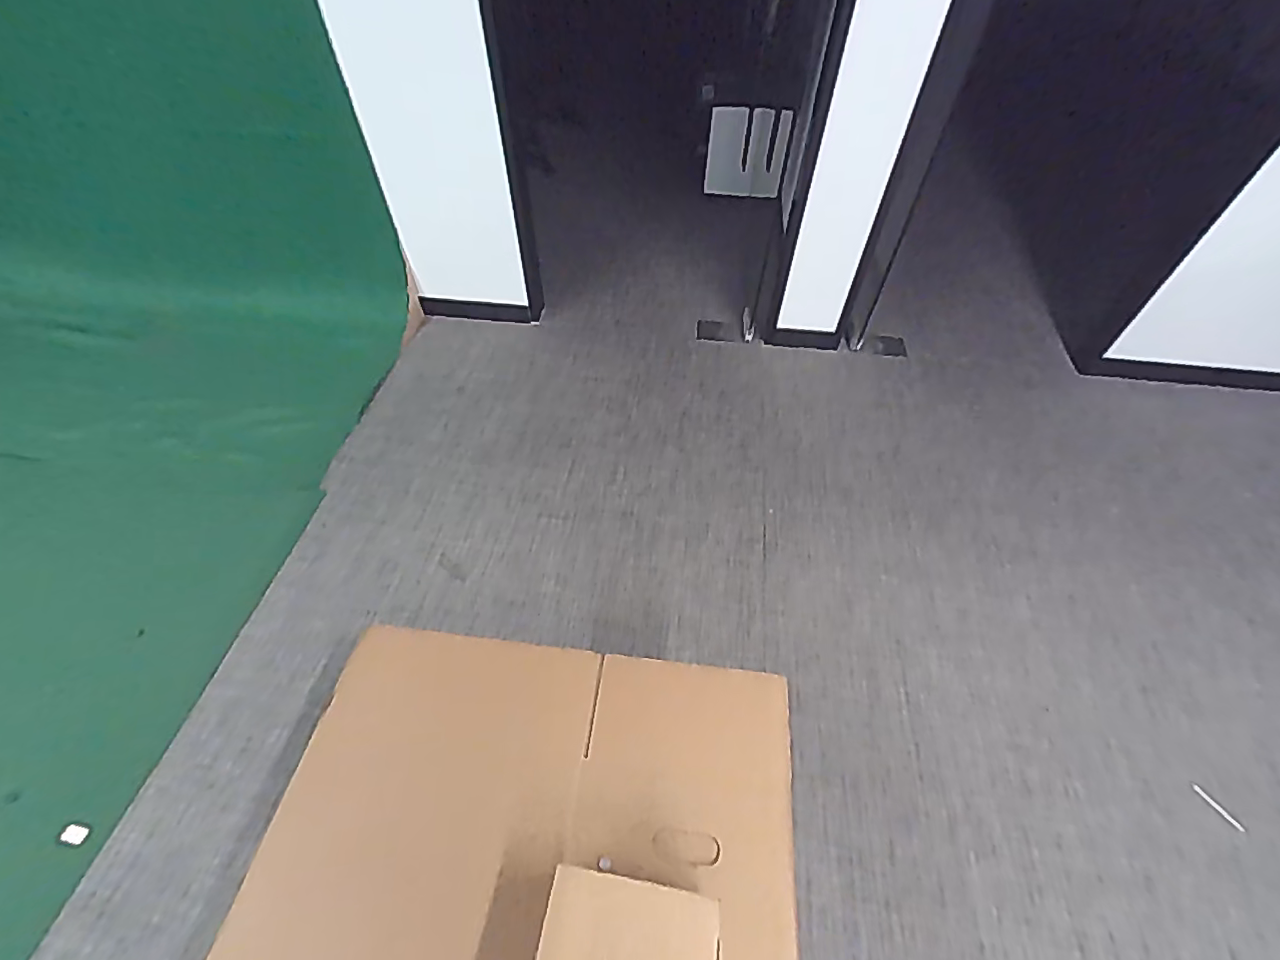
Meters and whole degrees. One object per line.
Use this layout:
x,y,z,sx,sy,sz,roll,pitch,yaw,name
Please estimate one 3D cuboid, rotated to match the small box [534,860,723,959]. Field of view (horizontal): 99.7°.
-0.014,0.523,0.567,0.179,0.176,0.168,8,52,8,small box
